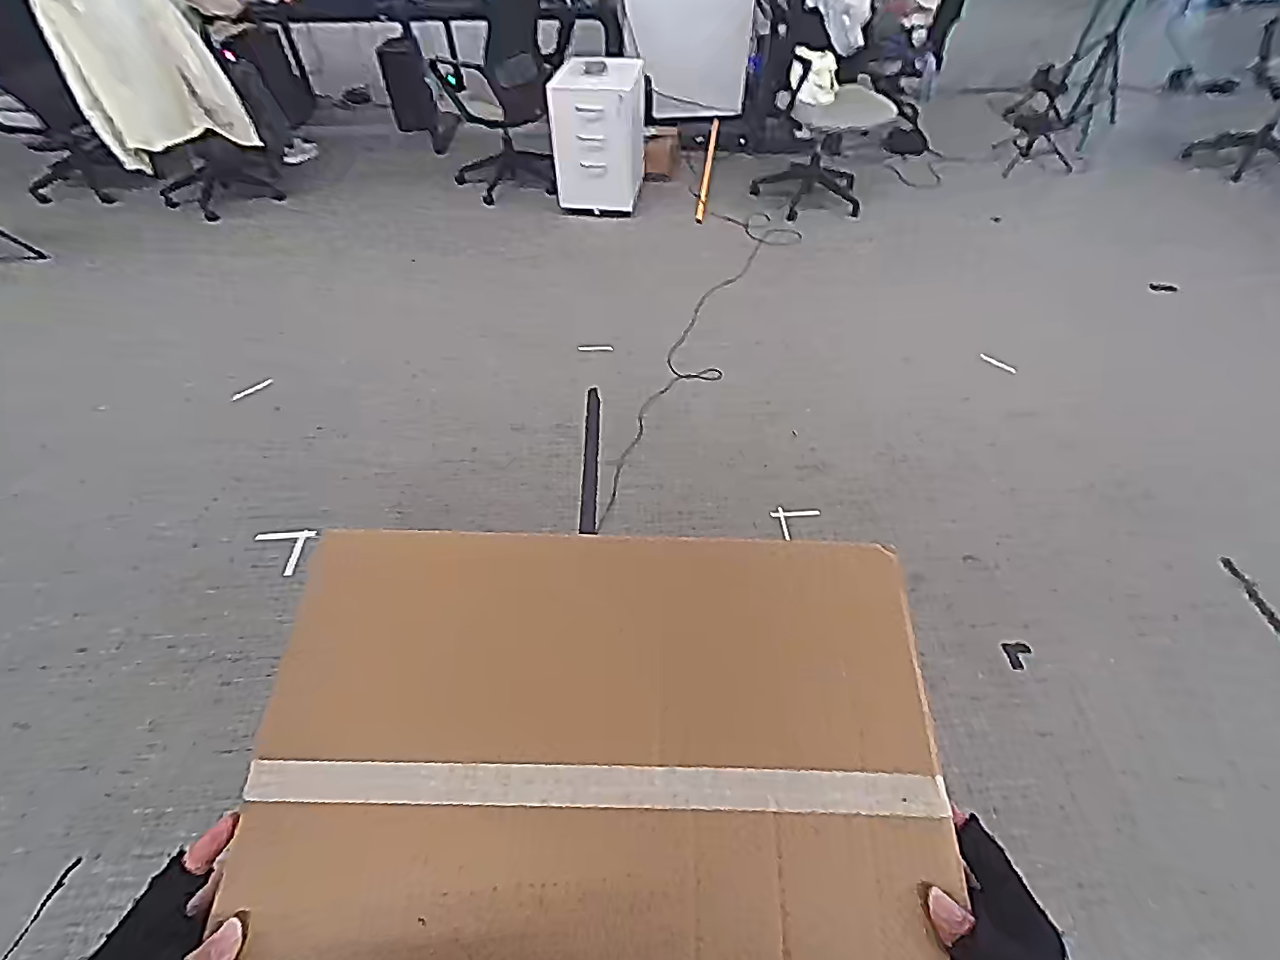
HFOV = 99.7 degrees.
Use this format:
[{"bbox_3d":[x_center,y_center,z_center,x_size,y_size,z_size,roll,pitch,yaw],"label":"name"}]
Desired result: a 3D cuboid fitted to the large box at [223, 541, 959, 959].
[{"bbox_3d":[-0.026,0.251,0.460,0.408,0.320,0.320,1,64,0],"label":"large box"}]
